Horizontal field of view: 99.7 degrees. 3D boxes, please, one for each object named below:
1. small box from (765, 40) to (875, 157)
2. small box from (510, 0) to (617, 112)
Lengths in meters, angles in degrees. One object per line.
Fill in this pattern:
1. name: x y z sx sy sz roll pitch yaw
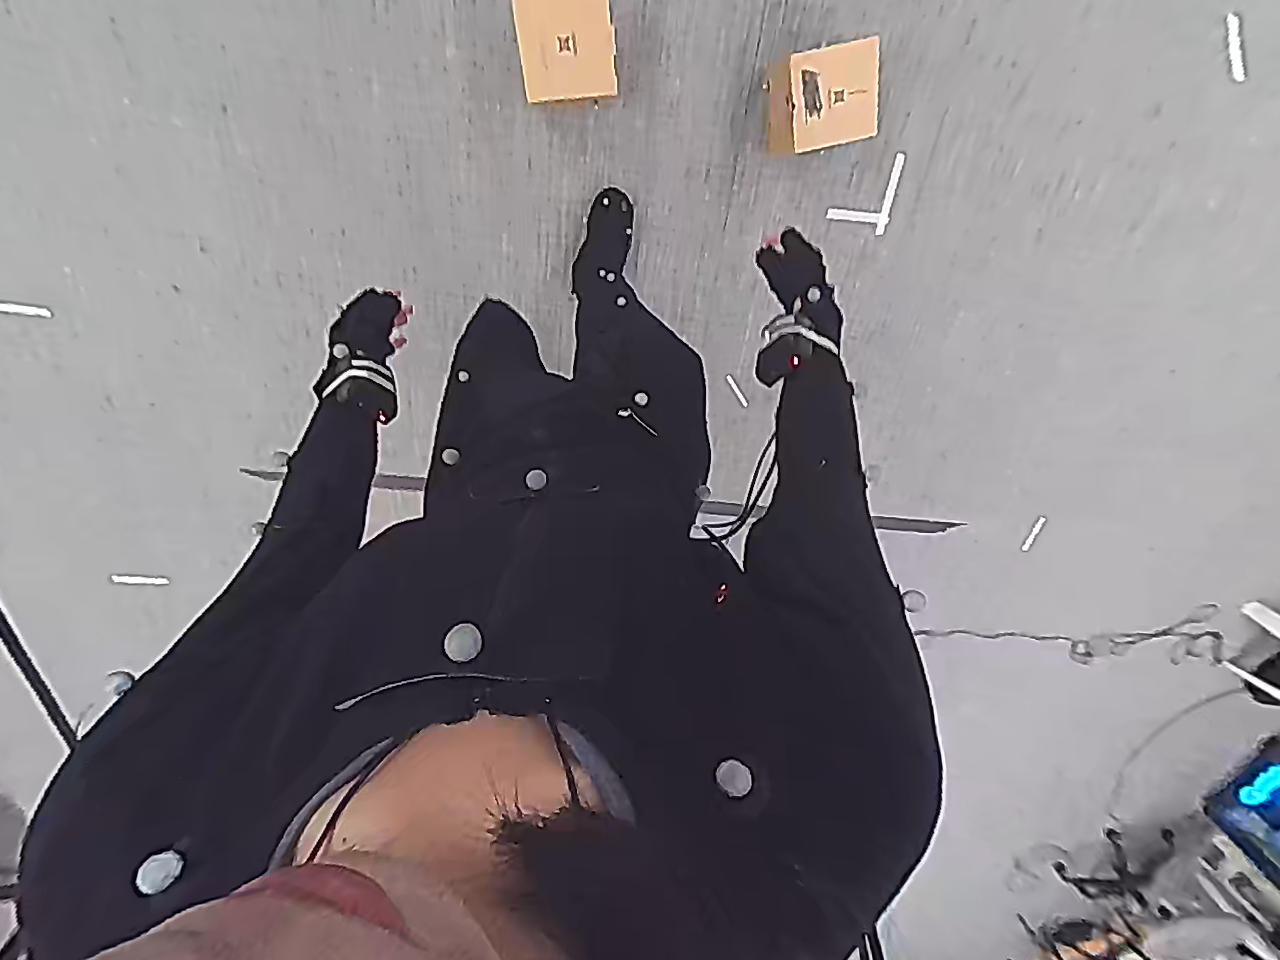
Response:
1. small box: 0.367 -0.786 1.130 0.179 0.176 0.168 -12 120 0
2. small box: -0.143 -0.829 1.053 0.179 0.176 0.168 -7 119 -1
